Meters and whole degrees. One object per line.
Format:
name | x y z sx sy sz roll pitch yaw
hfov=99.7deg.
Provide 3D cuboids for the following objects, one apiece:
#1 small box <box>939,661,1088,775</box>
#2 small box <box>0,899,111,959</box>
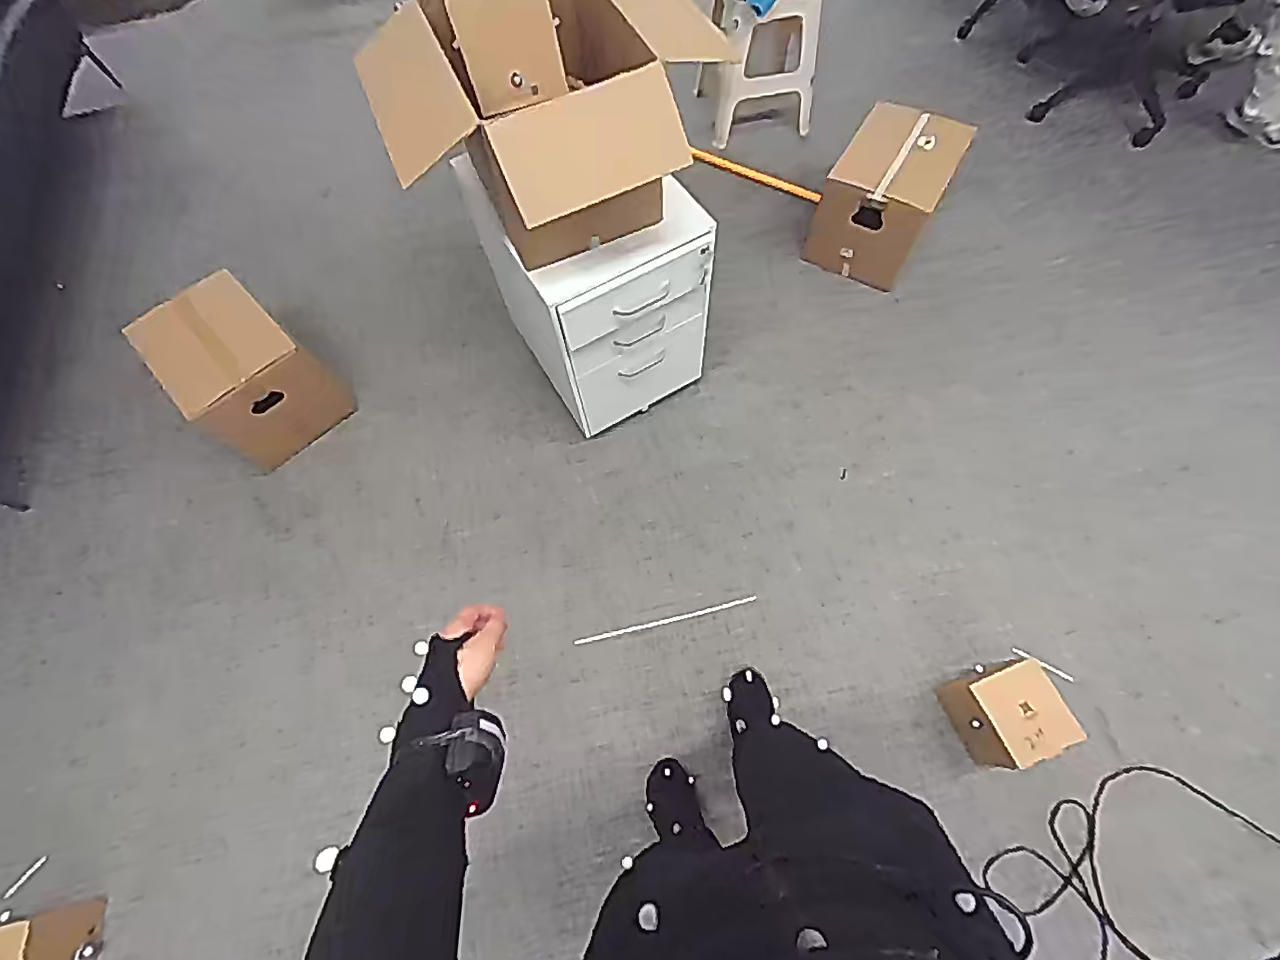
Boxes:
small box | 0.802 0.519 1.185 0.168 0.176 0.179 -21 67 -6
small box | -1.253 0.989 1.098 0.179 0.176 0.168 -12 67 -4
